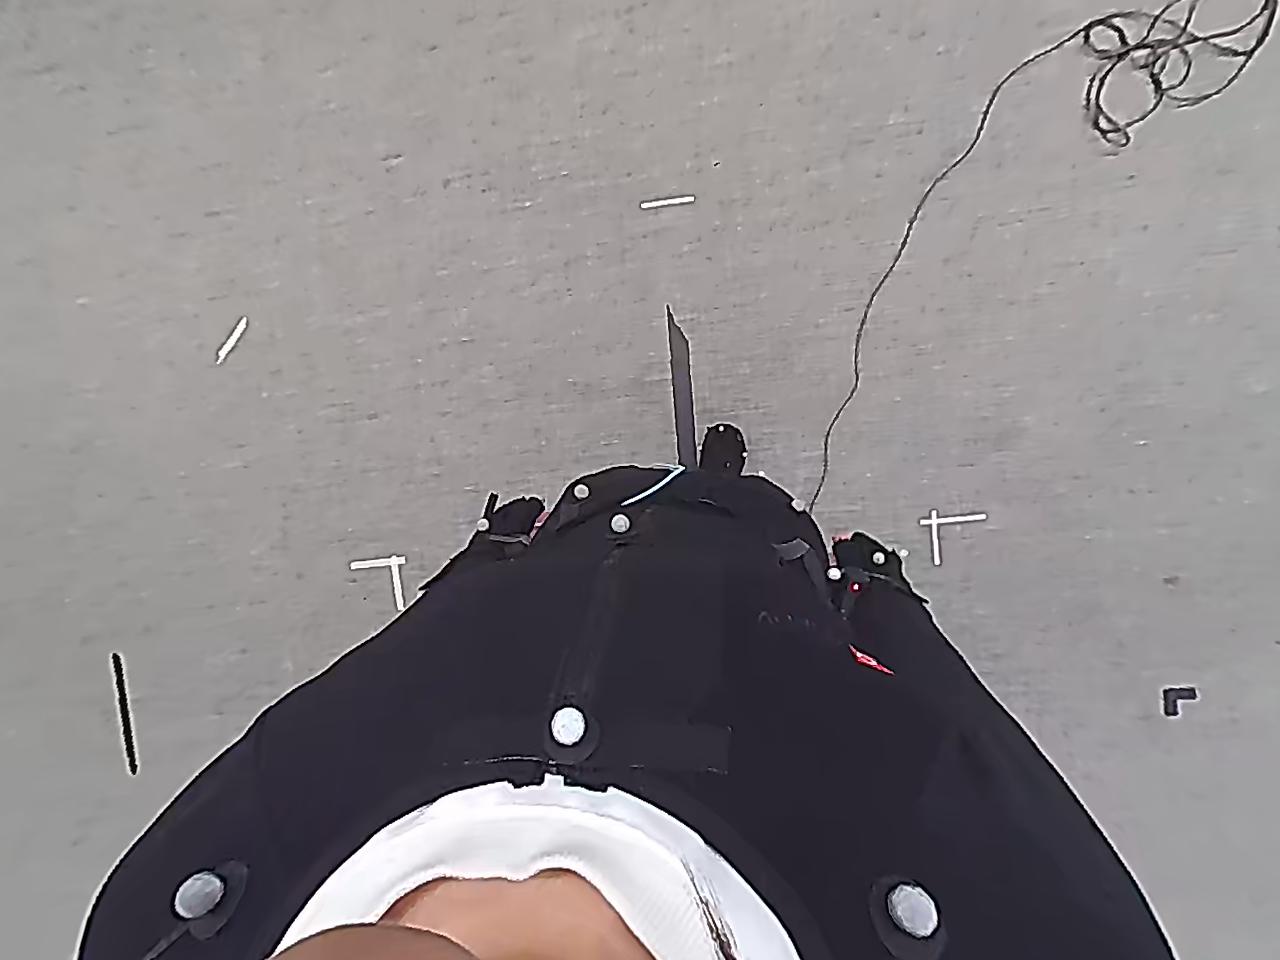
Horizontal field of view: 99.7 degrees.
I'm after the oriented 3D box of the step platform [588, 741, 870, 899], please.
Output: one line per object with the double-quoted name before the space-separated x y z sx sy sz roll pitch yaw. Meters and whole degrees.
"step platform" 0.212 0.855 1.368 0.684 0.204 0.286 -6 92 9
